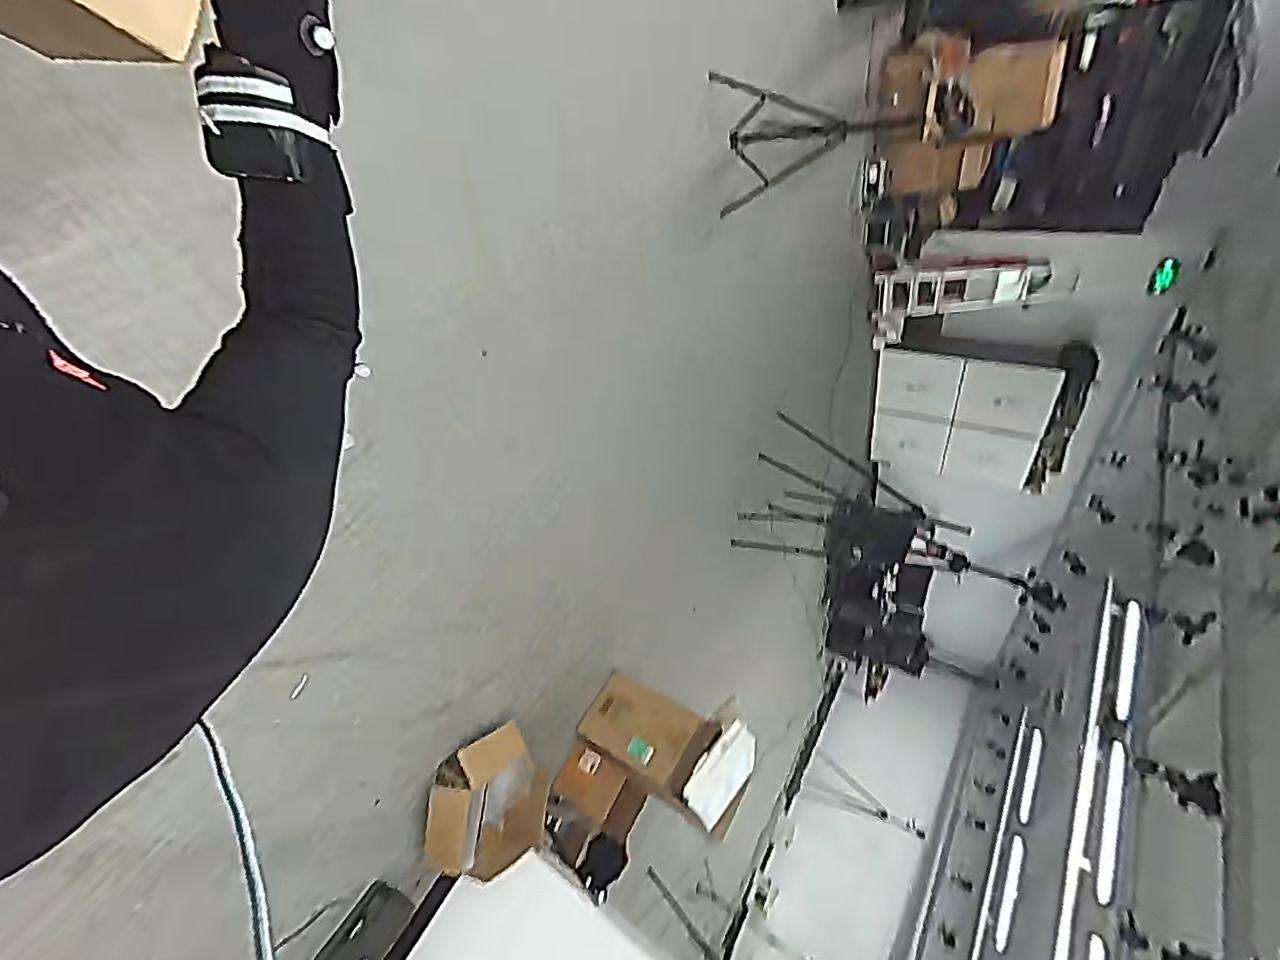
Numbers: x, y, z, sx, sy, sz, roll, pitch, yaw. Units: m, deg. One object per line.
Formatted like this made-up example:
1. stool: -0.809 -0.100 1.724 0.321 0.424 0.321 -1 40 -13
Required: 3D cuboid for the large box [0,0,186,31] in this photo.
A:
1. large box: -0.458 -0.488 0.218 0.408 0.320 0.320 7 108 -61
